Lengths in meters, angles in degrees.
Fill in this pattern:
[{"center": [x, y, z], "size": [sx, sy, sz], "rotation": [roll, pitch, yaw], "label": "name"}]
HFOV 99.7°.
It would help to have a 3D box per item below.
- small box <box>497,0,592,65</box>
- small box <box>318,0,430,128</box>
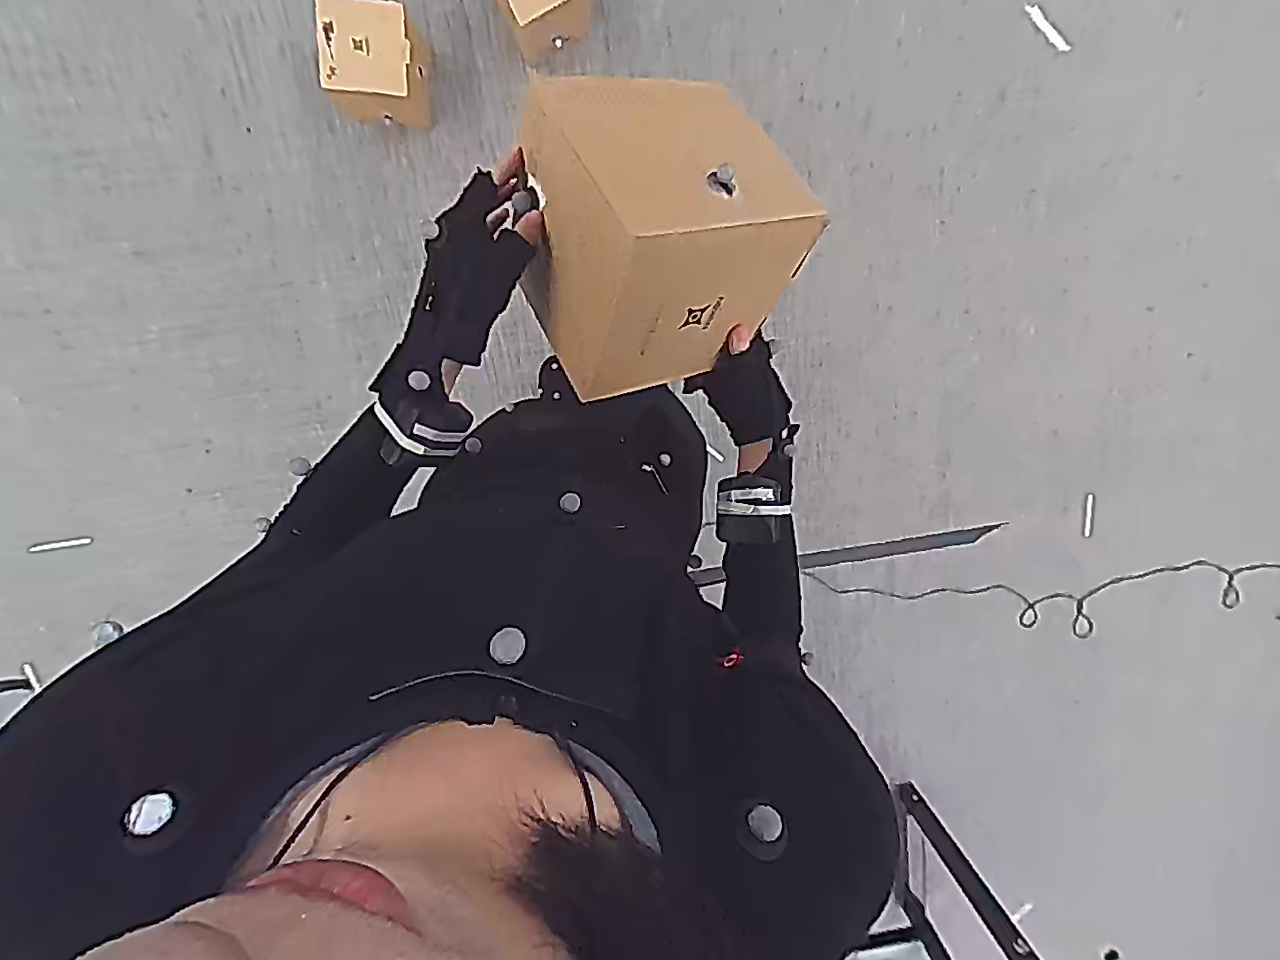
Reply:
[{"center": [-0.215, -1.046, 1.151], "size": [0.168, 0.176, 0.179], "rotation": [-28, 106, 2], "label": "small box"}, {"center": [-0.560, -0.884, 1.163], "size": [0.179, 0.176, 0.168], "rotation": [3, 104, -6], "label": "small box"}]
